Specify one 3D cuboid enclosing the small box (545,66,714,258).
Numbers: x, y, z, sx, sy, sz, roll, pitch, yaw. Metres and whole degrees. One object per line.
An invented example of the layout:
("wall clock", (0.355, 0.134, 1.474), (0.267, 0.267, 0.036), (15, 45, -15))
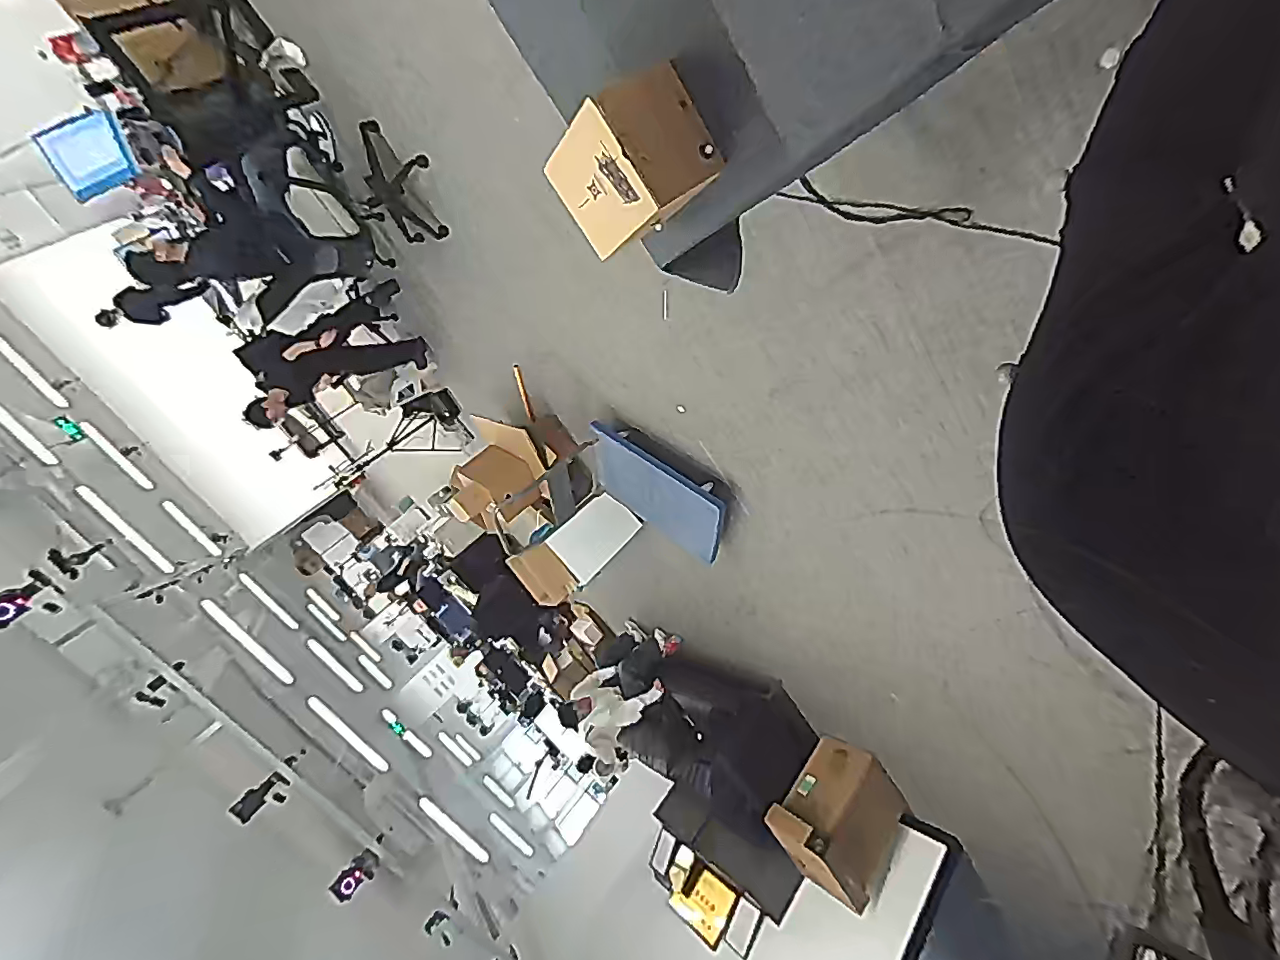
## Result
("small box", (-0.009, -0.485, 0.832), (0.168, 0.176, 0.179), (54, 152, -16))
